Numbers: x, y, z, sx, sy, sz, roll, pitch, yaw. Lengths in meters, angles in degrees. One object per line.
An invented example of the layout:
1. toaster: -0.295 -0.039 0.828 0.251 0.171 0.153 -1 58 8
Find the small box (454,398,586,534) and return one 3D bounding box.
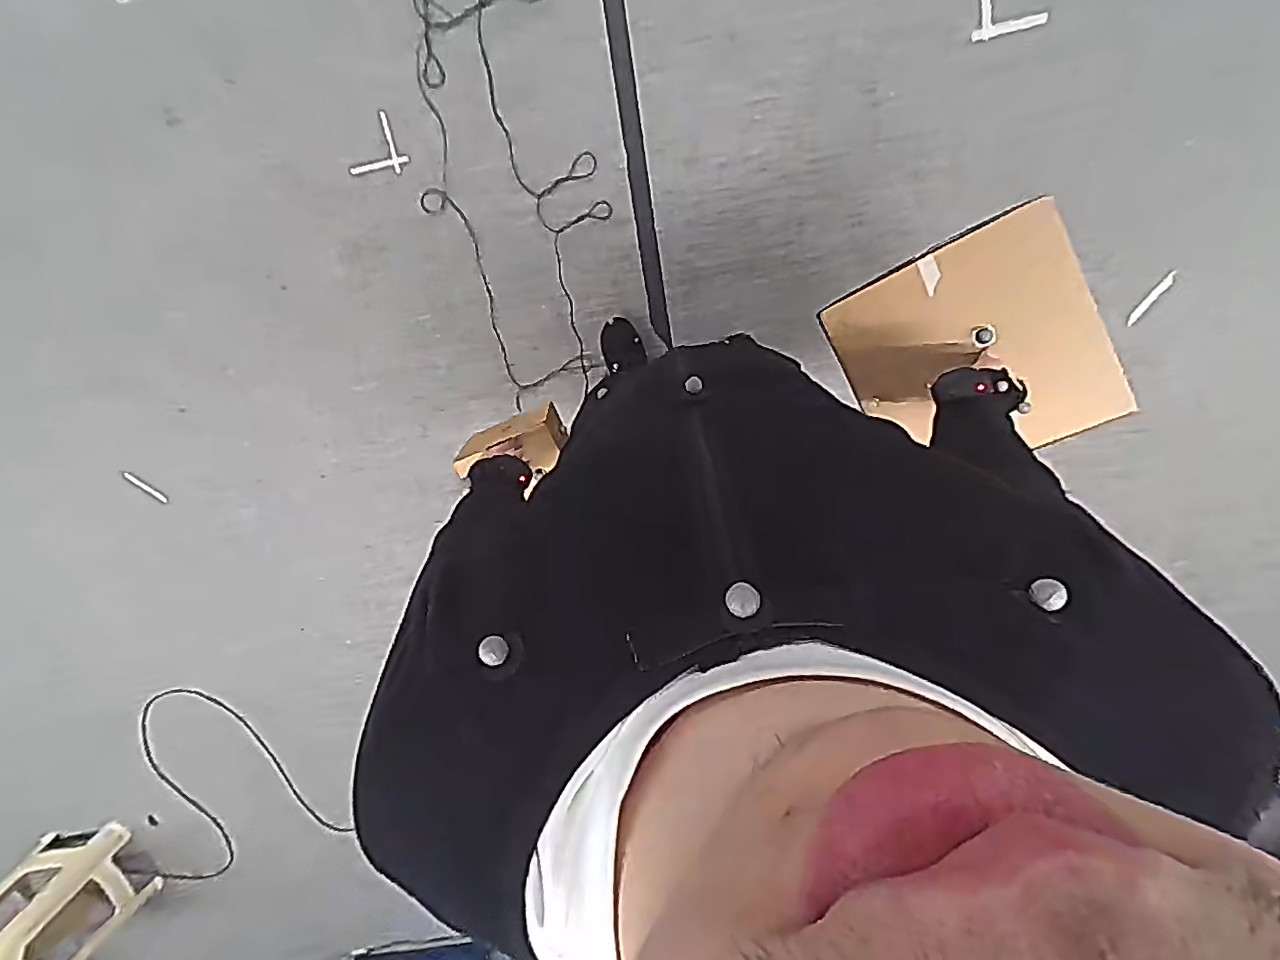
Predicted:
1. small box: -0.203 -0.022 0.972 0.168 0.179 0.176 -23 111 4
